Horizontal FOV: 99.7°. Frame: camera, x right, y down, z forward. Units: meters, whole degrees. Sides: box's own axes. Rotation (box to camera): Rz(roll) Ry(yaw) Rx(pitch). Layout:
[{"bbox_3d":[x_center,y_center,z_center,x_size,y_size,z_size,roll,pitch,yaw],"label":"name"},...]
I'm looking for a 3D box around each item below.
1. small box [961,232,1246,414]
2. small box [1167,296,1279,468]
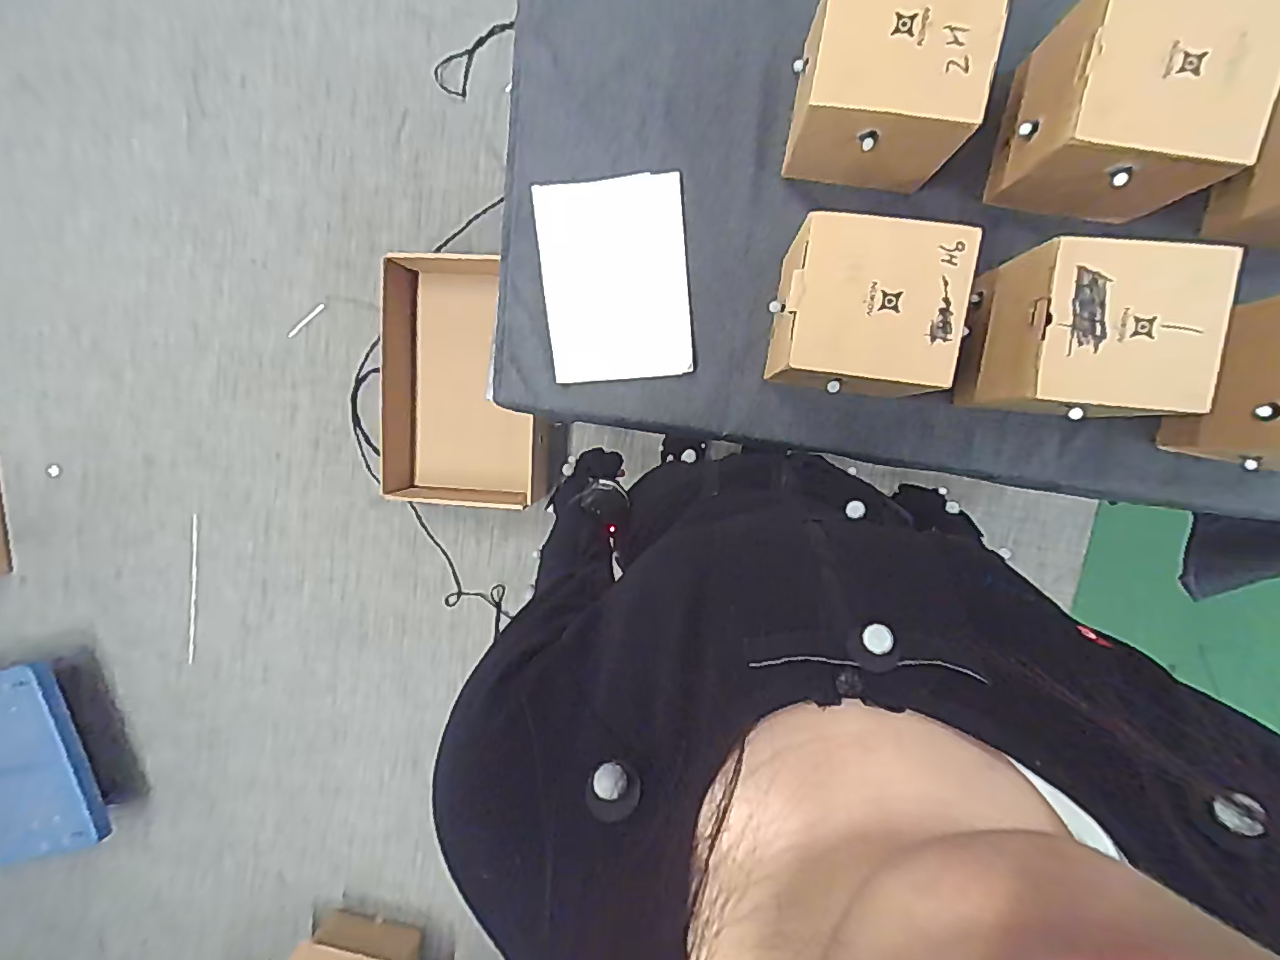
[{"bbox_3d":[0.502,-0.165,0.617,0.179,0.176,0.168,5,96,4],"label":"small box"},{"bbox_3d":[0.757,-0.107,0.603,0.168,0.176,0.179,12,96,4],"label":"small box"}]
